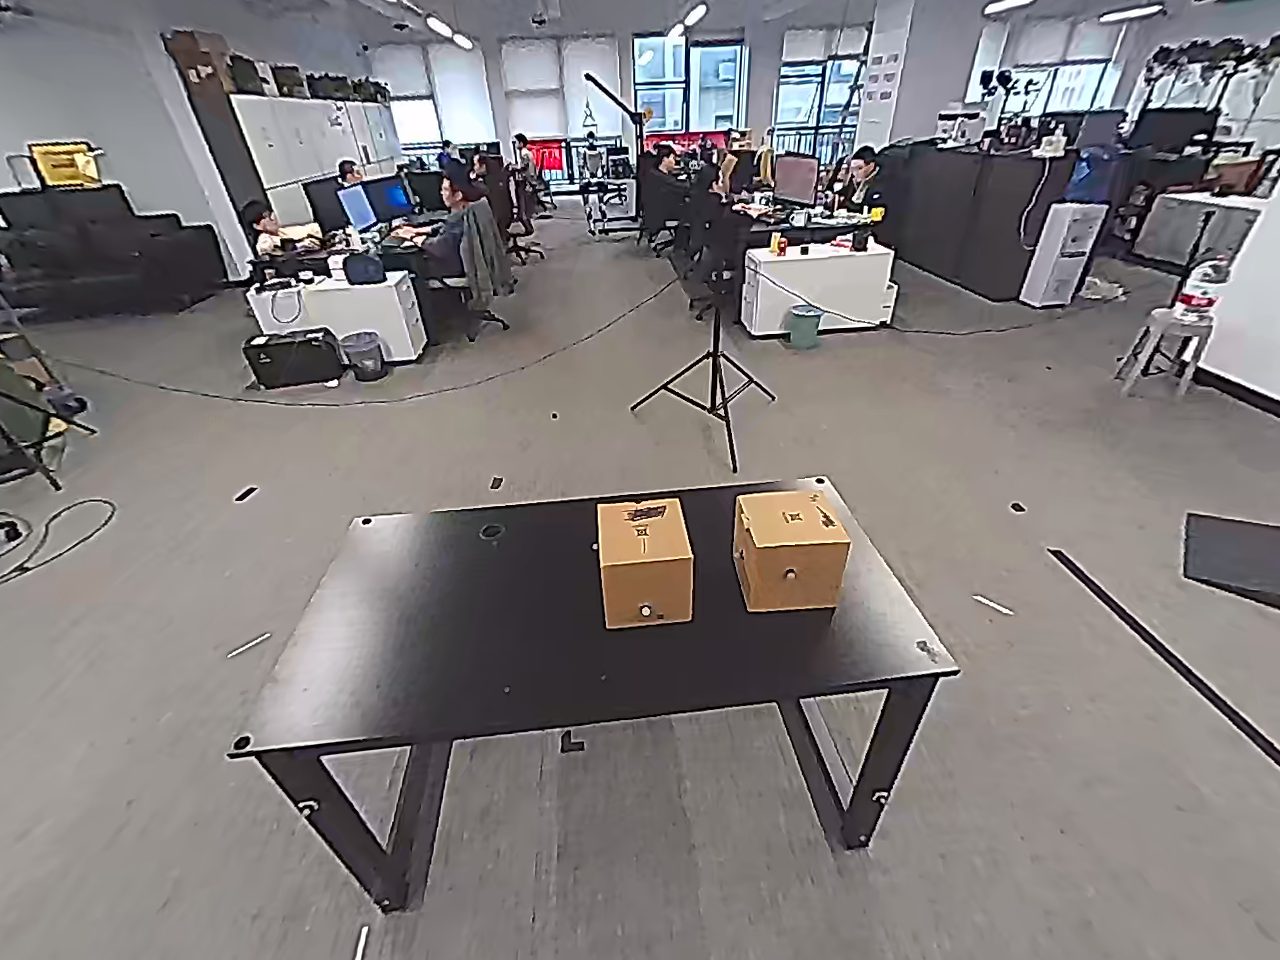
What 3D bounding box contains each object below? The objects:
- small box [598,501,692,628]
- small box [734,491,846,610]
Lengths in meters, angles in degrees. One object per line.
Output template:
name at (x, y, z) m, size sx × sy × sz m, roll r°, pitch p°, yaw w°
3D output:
small box at (0.005, 0.163, 1.058) m, size 0.168 × 0.176 × 0.179 m, roll -5°, pitch 35°, yaw -3°
small box at (0.286, 0.140, 1.071) m, size 0.179 × 0.176 × 0.168 m, roll -4°, pitch 34°, yaw 0°
